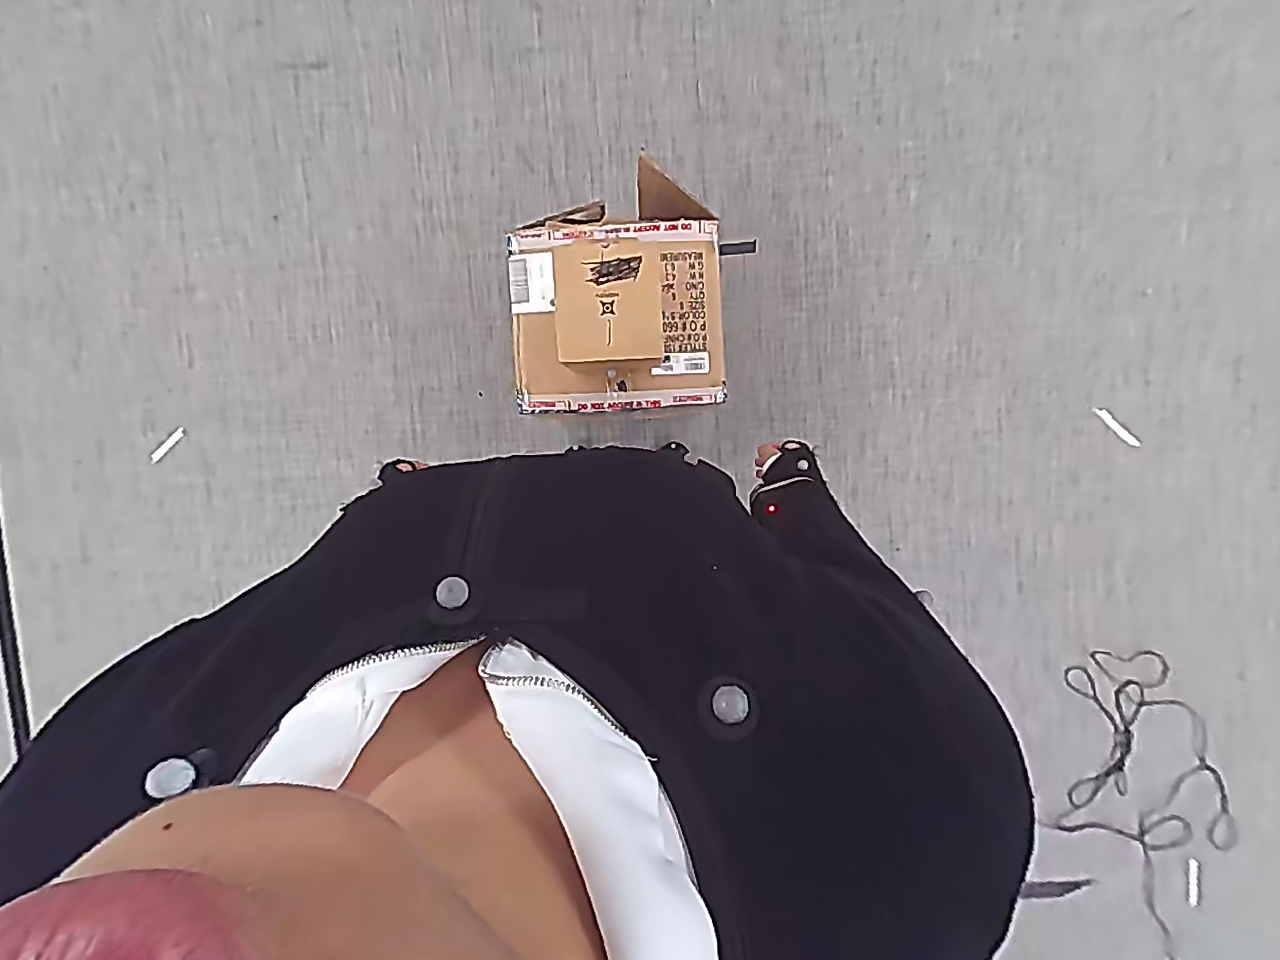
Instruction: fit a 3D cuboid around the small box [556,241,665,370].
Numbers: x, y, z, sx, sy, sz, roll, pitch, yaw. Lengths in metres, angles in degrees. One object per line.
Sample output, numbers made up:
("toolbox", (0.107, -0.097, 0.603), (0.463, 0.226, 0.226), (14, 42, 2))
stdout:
("small box", (-0.045, -0.282, 0.905), (0.168, 0.176, 0.179), (-2, 97, 1))
